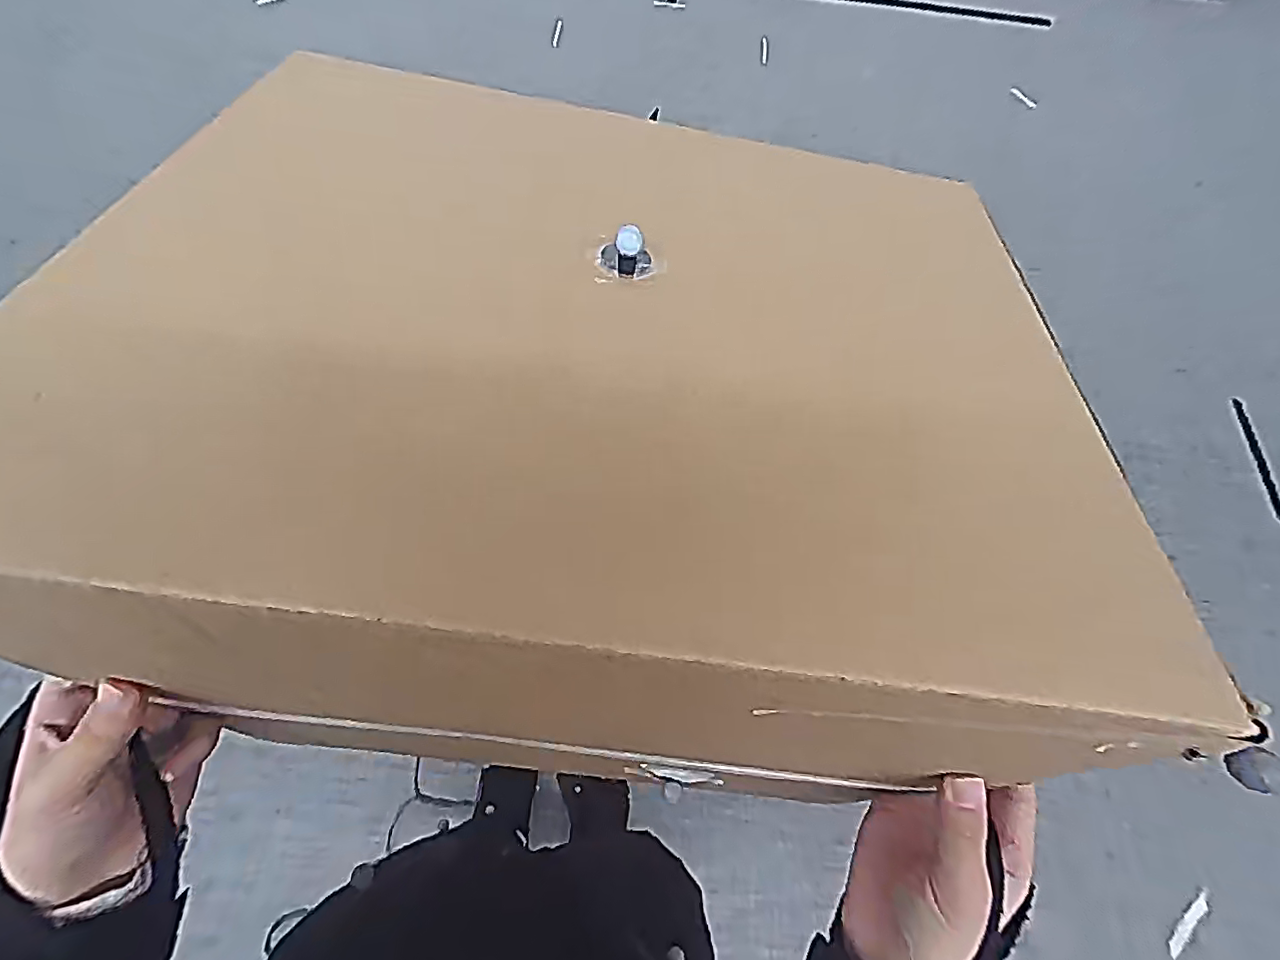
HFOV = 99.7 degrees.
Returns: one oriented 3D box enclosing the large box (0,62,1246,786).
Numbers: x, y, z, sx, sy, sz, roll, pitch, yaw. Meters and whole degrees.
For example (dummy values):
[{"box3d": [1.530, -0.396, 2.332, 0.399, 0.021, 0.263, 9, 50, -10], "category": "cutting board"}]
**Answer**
[{"box3d": [-0.028, -0.009, 0.352, 0.408, 0.320, 0.320, 8, 57, -4], "category": "large box"}]
